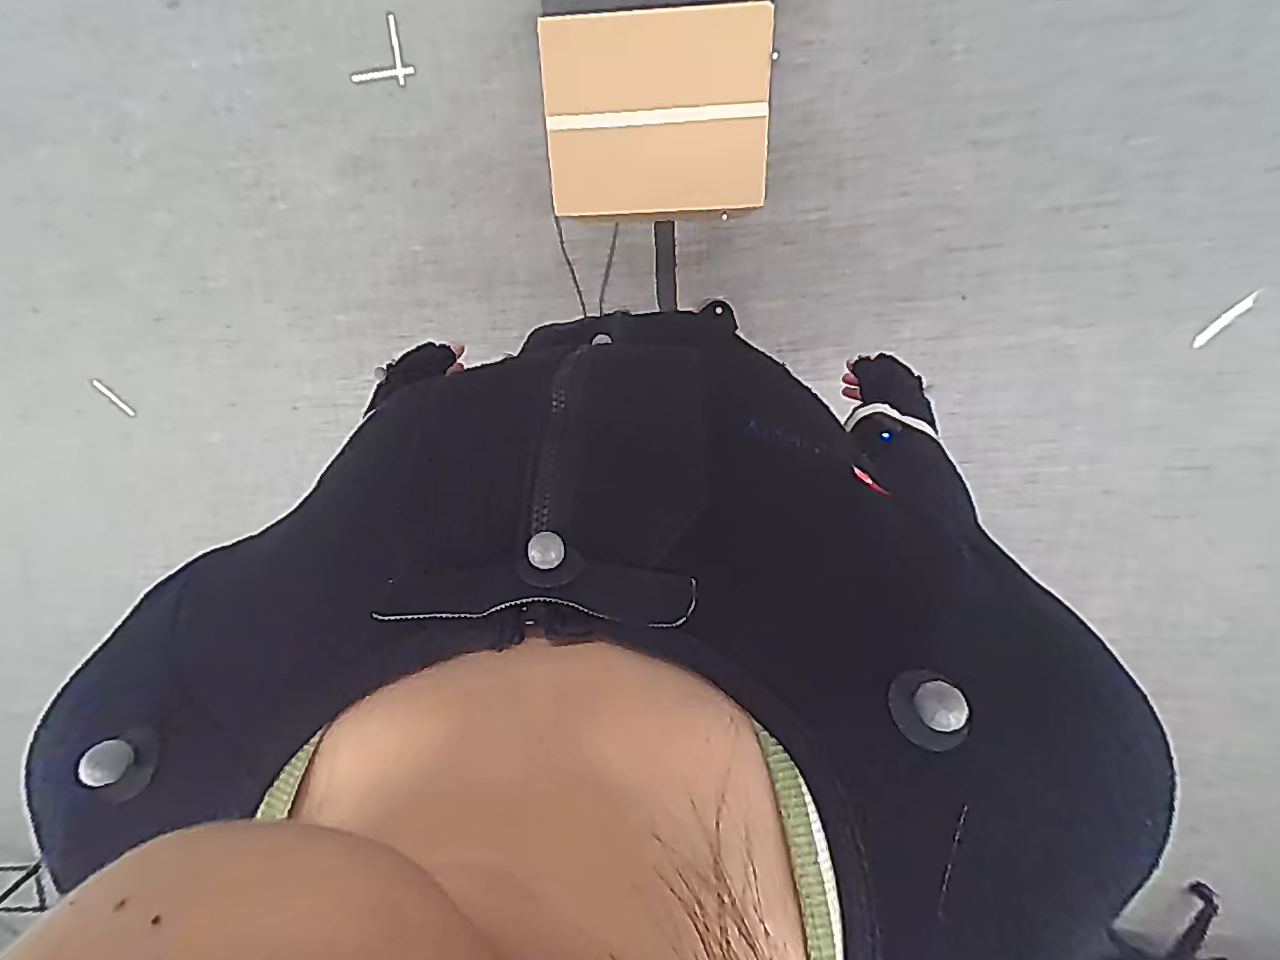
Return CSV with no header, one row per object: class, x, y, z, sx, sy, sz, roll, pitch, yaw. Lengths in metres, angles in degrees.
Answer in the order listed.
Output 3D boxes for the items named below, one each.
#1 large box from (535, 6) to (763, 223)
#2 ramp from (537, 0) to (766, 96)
large box,0.029,-0.717,1.122,0.408,0.320,0.320,-1,112,4
ramp,0.003,-1.279,1.010,0.509,0.206,0.991,-4,108,4
